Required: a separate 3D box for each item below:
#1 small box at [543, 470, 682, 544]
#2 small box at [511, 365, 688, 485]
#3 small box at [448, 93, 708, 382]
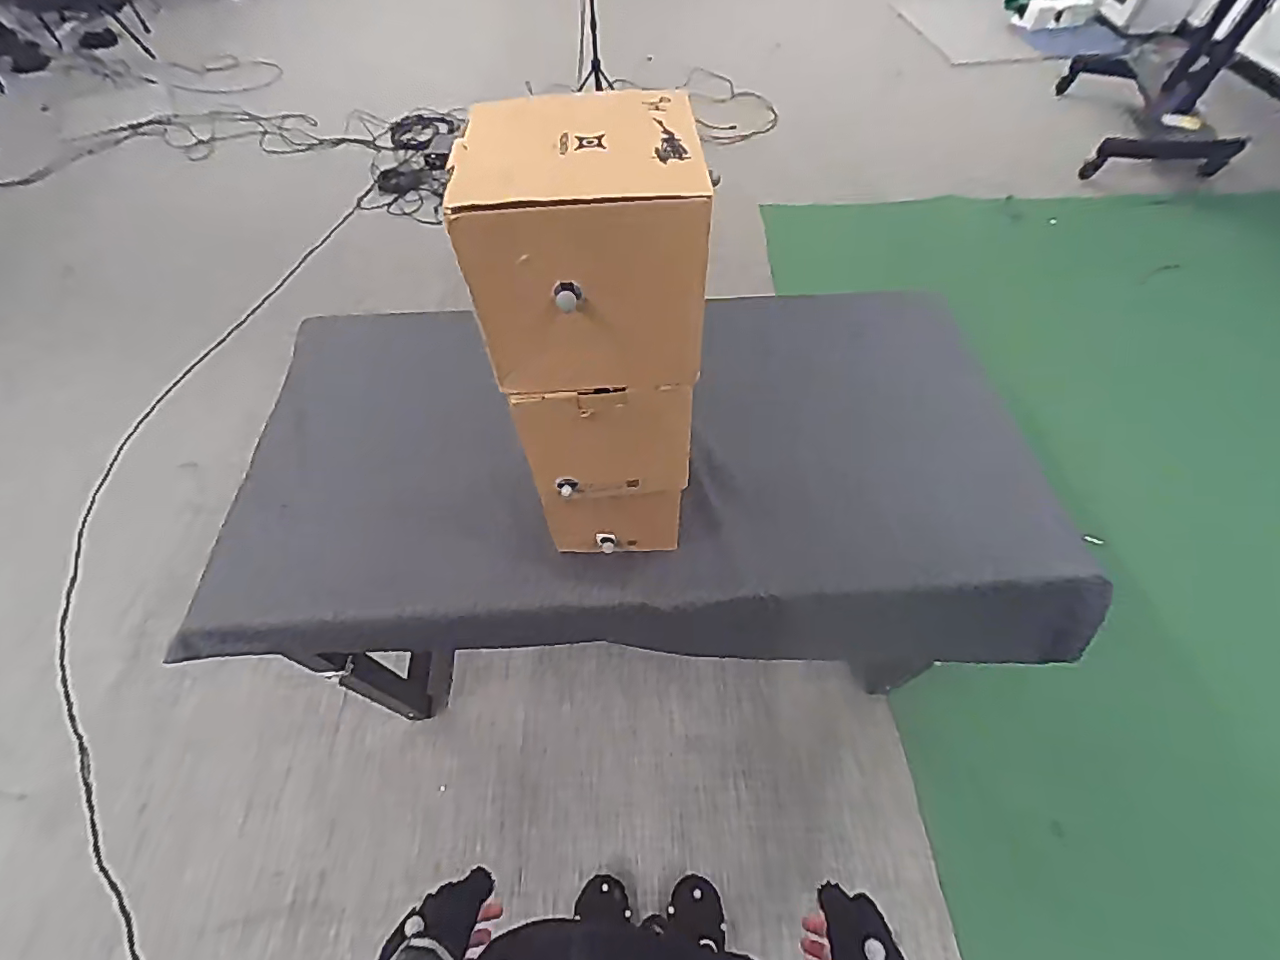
[{"bbox_3d":[-0.032,-0.028,0.741,0.168,0.176,0.179,-3,57,1],"label":"small box"},{"bbox_3d":[-0.042,-0.108,0.597,0.168,0.176,0.179,-8,57,-2],"label":"small box"},{"bbox_3d":[-0.044,-0.200,0.465,0.179,0.176,0.168,-6,54,-2],"label":"small box"}]
